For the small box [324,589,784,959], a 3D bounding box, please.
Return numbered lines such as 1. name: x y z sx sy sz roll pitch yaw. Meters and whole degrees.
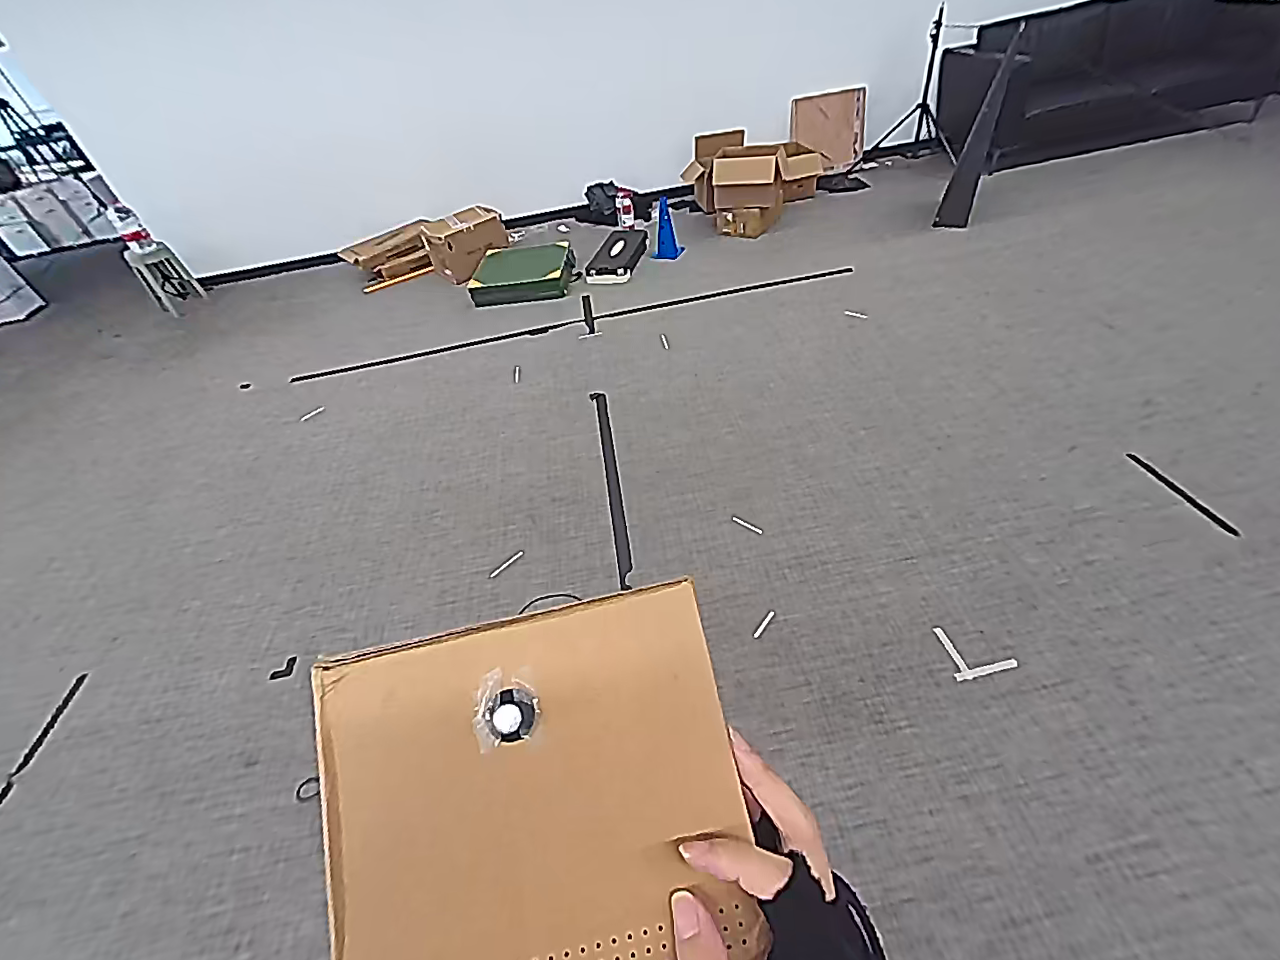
1. small box: -0.042 0.167 0.304 0.179 0.168 0.176 -12 77 -5
